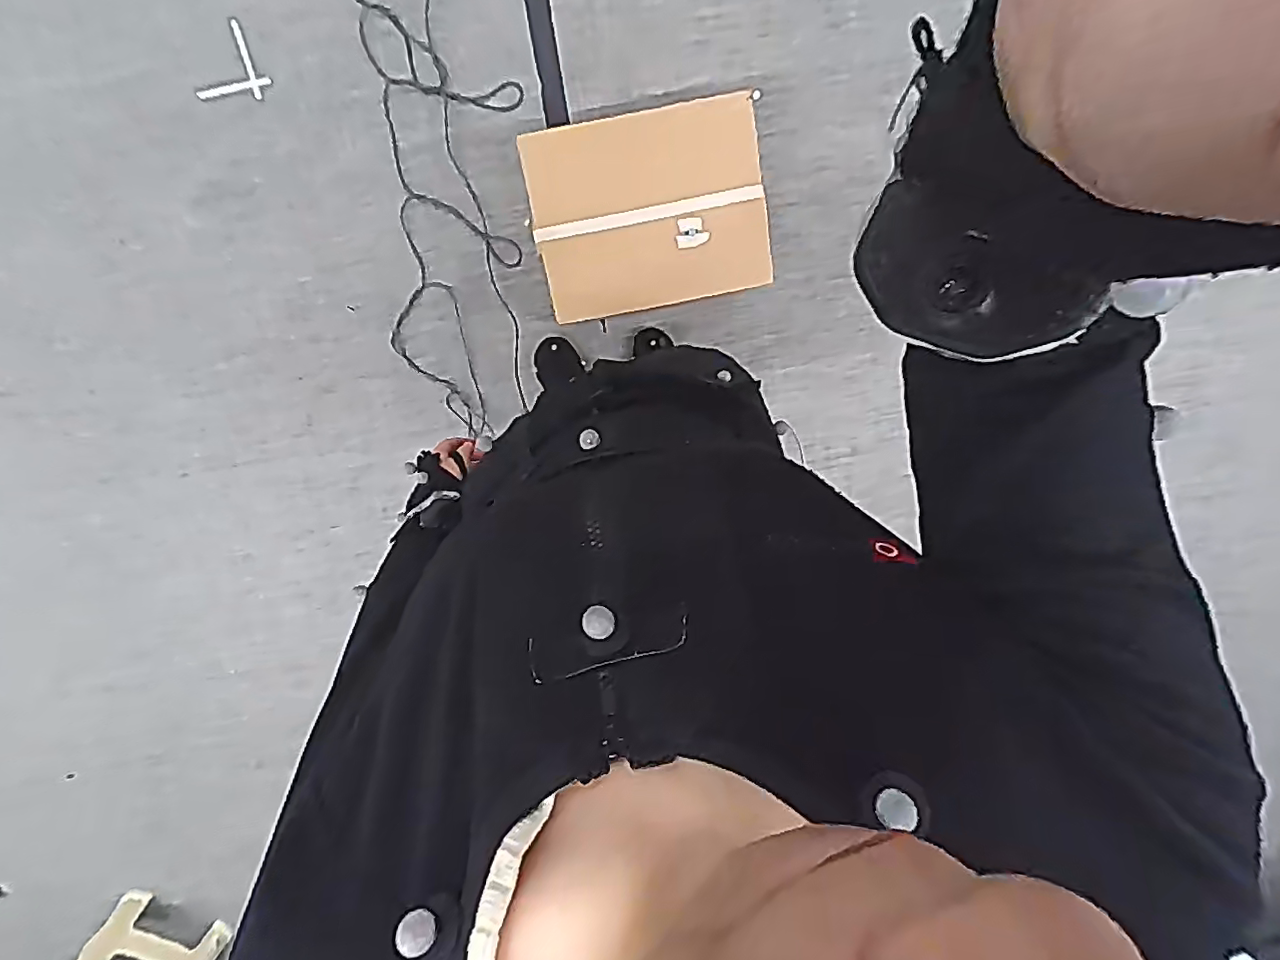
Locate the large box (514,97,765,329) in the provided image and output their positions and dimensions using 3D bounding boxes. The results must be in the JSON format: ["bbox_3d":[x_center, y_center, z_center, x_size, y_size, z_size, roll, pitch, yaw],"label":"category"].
[{"bbox_3d":[-0.002,-0.503,1.096,0.408,0.320,0.320,-11,107,-1],"label":"large box"}]
